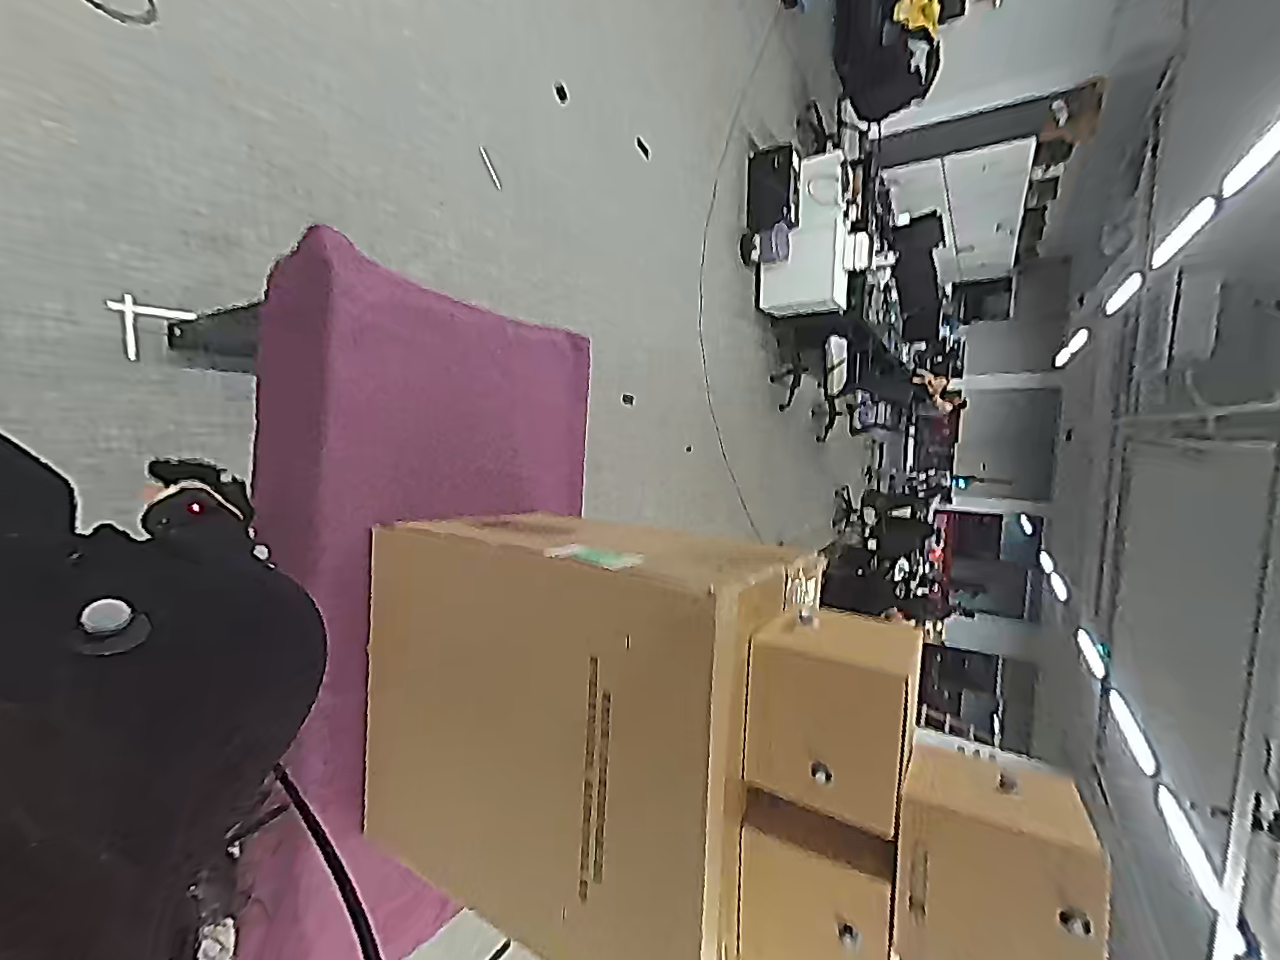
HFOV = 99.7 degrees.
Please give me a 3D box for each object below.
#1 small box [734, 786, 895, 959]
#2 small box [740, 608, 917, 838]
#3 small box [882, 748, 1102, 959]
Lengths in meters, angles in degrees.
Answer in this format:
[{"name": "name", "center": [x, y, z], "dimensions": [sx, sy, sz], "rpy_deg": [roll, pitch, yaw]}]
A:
[{"name": "small box", "center": [0.223, 0.494, 0.669], "dimensions": [0.168, 0.176, 0.179], "rpy_deg": [-6, 98, -58]}, {"name": "small box", "center": [0.227, 0.271, 0.653], "dimensions": [0.168, 0.176, 0.179], "rpy_deg": [-7, 100, -59]}, {"name": "small box", "center": [0.366, 0.416, 0.583], "dimensions": [0.179, 0.176, 0.168], "rpy_deg": [12, 82, -59]}]
